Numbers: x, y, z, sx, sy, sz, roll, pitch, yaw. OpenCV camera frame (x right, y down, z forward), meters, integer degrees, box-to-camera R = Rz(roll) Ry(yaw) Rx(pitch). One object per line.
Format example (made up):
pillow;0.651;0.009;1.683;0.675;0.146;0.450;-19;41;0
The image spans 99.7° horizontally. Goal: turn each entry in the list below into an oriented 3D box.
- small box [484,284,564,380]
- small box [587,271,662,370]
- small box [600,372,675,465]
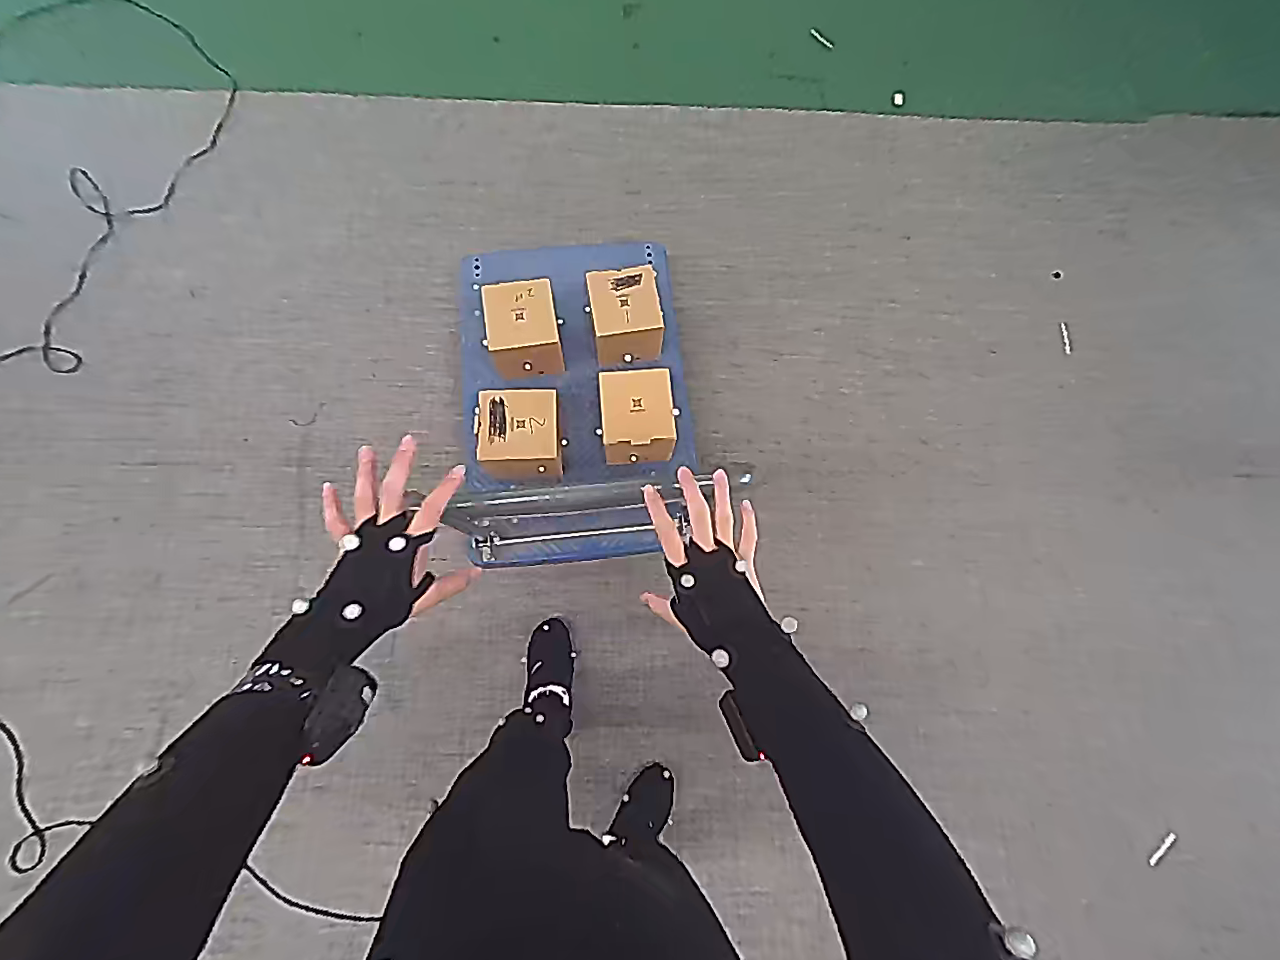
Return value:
small box;-0.289;-0.367;1.373;0.168;0.176;0.179;-9;76;-6
small box;-0.042;-0.408;1.394;0.168;0.176;0.179;-9;77;-4
small box;-0.012;-0.147;1.329;0.168;0.176;0.179;-4;76;-4
